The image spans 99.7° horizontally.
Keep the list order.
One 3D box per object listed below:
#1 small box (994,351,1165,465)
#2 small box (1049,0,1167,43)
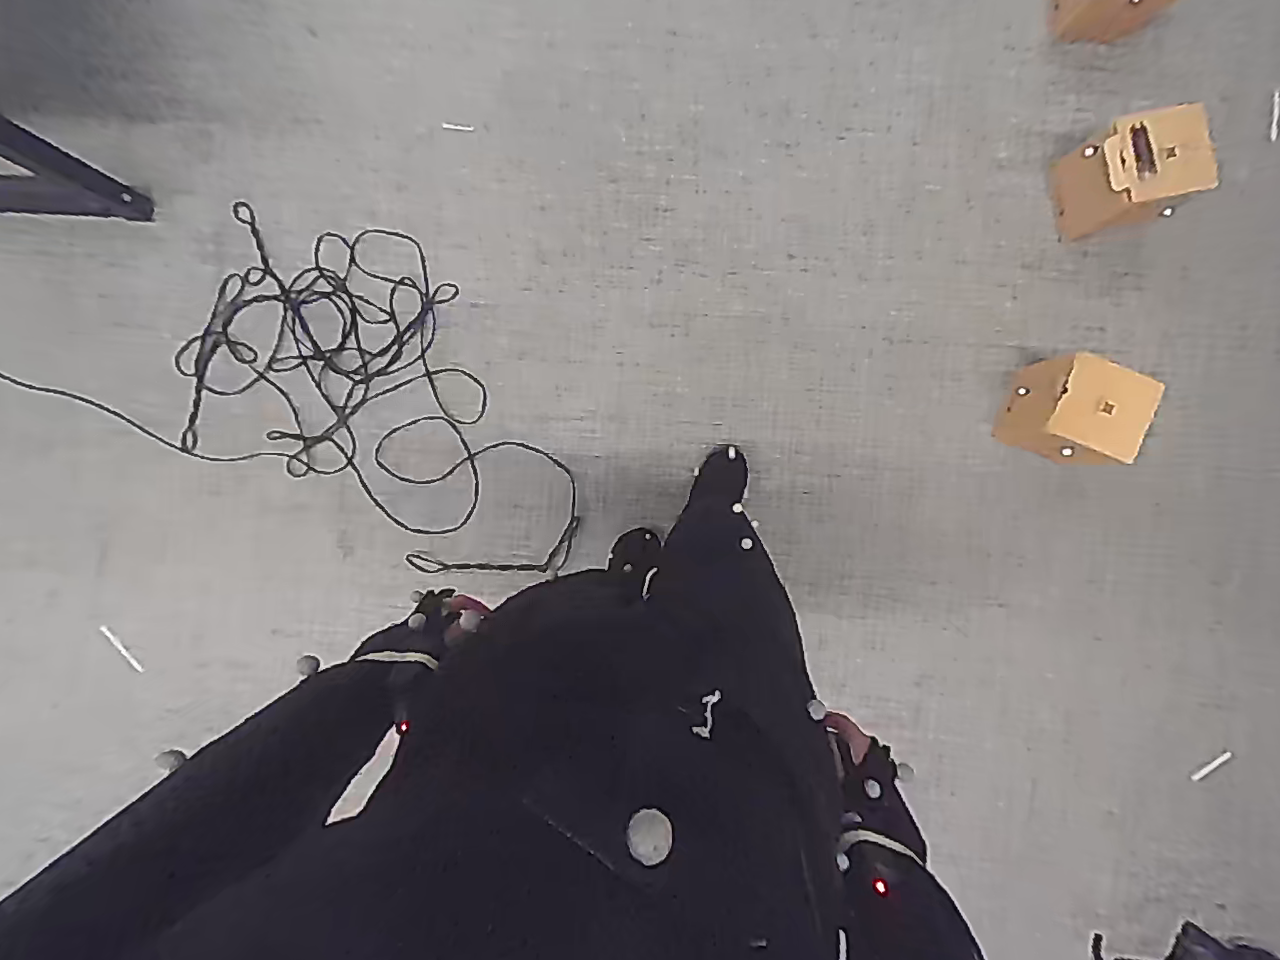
[{"bbox_3d":[0.875,-0.138,1.094,0.179,0.176,0.168,23,91,2],"label":"small box"},{"bbox_3d":[0.972,-1.030,1.094,0.179,0.176,0.168,0,91,0],"label":"small box"}]
